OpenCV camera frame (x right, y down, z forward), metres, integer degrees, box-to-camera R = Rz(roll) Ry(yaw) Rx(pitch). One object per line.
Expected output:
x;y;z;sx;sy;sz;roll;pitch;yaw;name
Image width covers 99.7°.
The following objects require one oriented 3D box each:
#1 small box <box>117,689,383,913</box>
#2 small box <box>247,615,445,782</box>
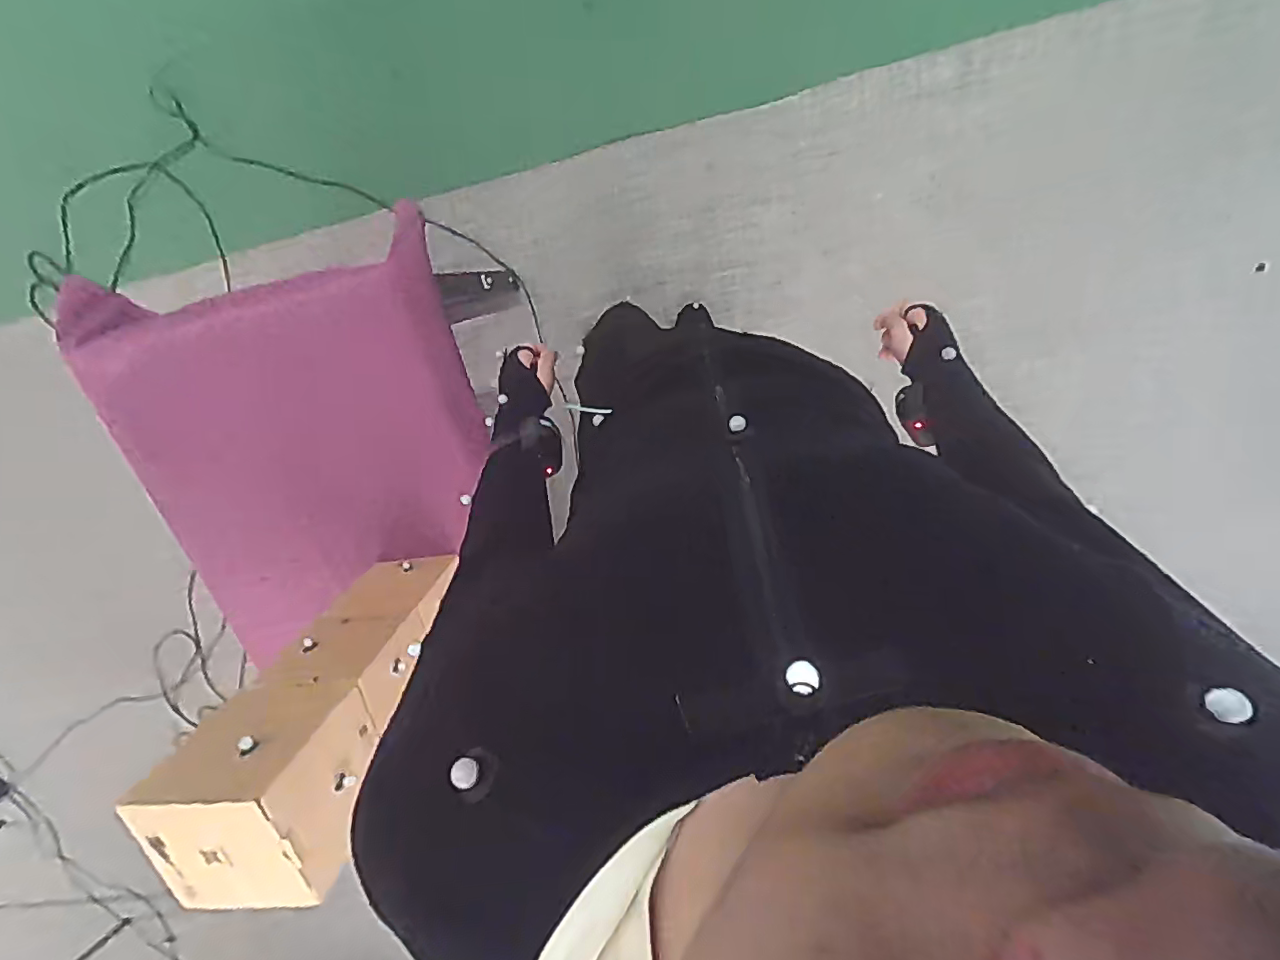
-0.438;0.372;0.647;0.179;0.176;0.168;-7;109;8;small box
-0.416;0.315;0.799;0.168;0.176;0.179;-7;109;8;small box
